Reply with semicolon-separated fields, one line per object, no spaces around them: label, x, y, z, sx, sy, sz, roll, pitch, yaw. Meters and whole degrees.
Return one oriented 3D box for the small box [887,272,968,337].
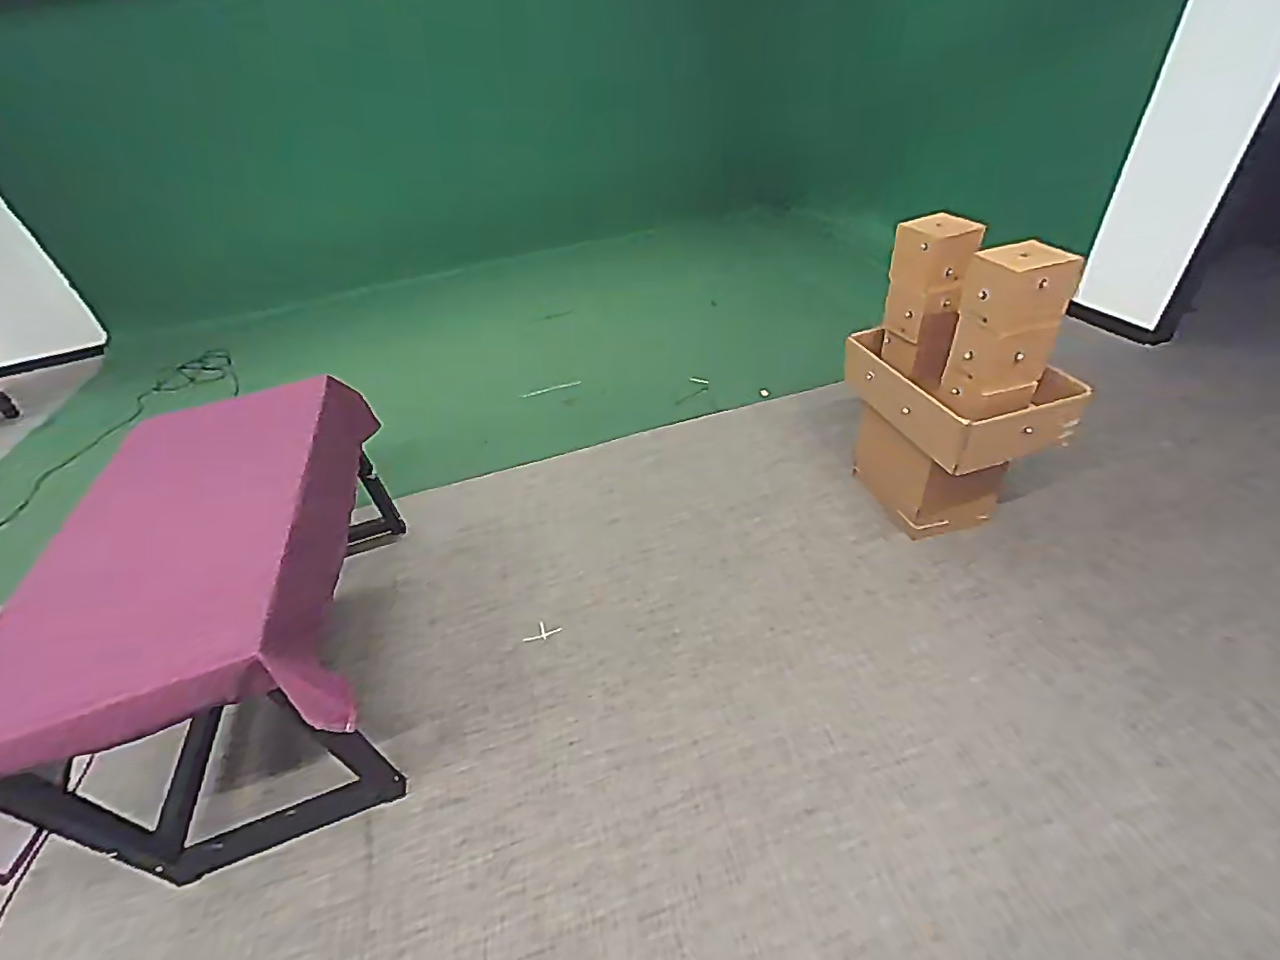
small box;0.924;-0.583;1.749;0.179;0.176;0.168;-17;41;-9

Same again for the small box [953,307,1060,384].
small box;1.002;-0.387;1.502;0.179;0.176;0.168;-14;41;-4

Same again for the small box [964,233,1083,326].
small box;0.976;-0.516;1.400;0.179;0.176;0.168;-13;40;-4

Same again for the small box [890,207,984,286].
small box;0.899;-0.714;1.655;0.168;0.176;0.179;-19;42;-10
